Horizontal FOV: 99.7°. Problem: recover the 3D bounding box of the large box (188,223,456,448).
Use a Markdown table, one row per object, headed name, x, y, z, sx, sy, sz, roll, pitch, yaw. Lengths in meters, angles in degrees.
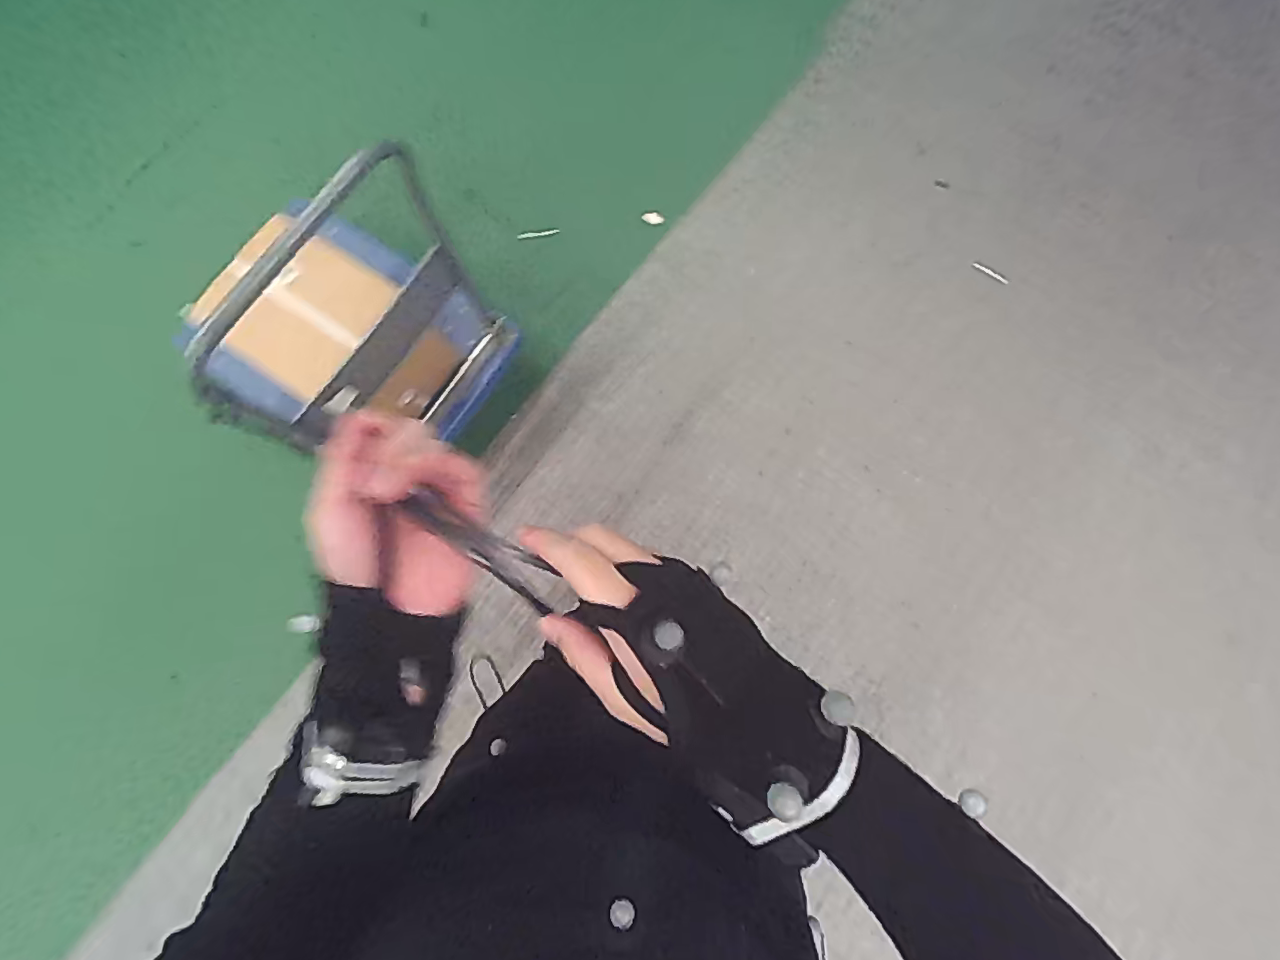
| name | x | y | z | sx | sy | sz | roll | pitch | yaw |
| --- | --- | --- | --- | --- | --- | --- | --- | --- | --- |
| large box | -0.749 | -0.336 | 1.332 | 0.408 | 0.320 | 0.320 | 33 | 80 | 11 |
